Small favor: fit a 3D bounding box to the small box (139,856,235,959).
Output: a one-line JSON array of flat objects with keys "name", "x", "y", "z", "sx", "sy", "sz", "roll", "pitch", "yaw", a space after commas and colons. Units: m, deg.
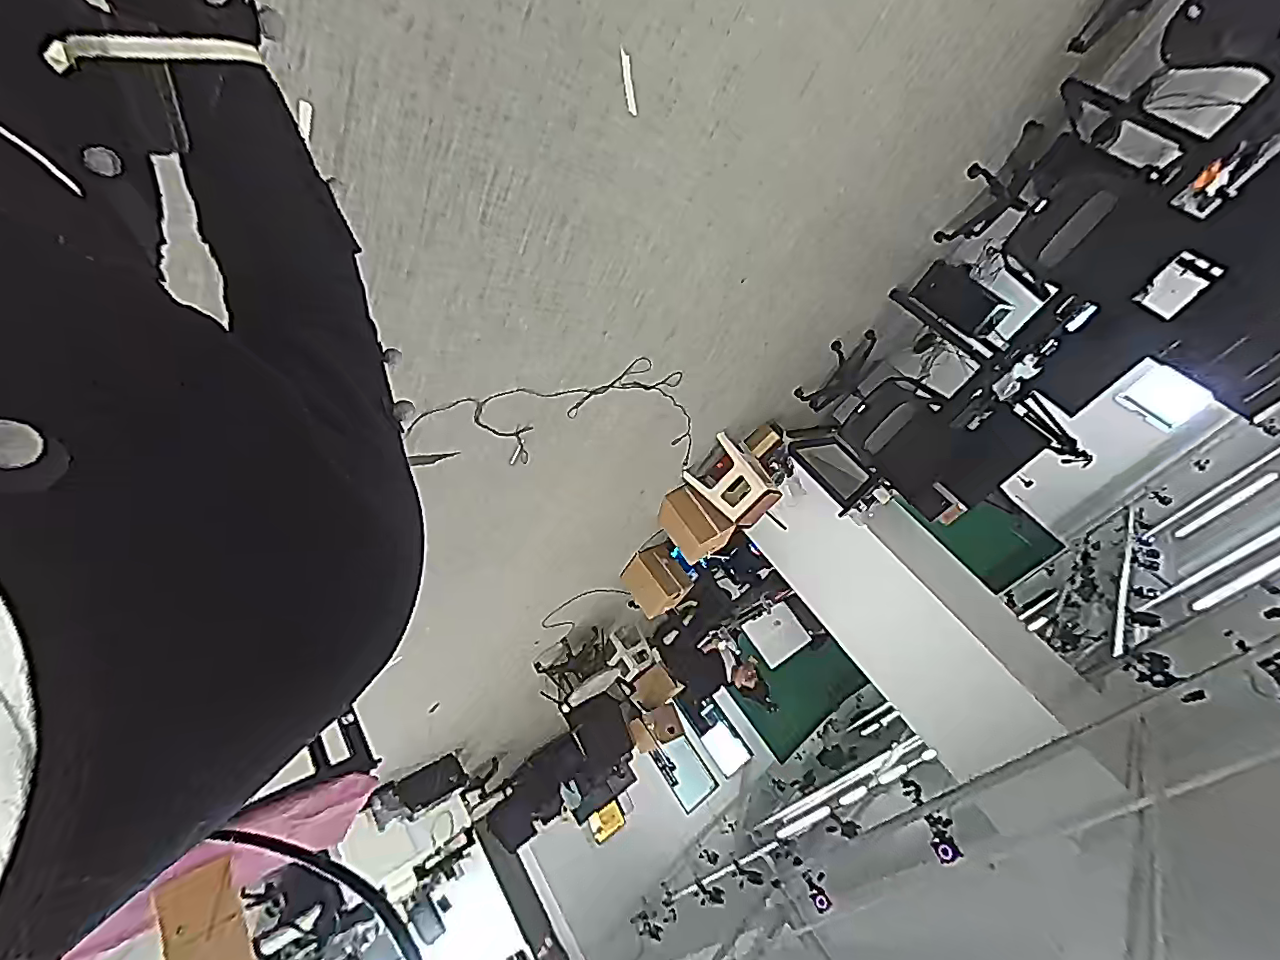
[{"name": "small box", "x": -1.272, "y": 1.206, "z": 1.517, "sx": 0.179, "sy": 0.176, "sz": 0.168, "roll": -9, "pitch": 143, "yaw": -48}]
